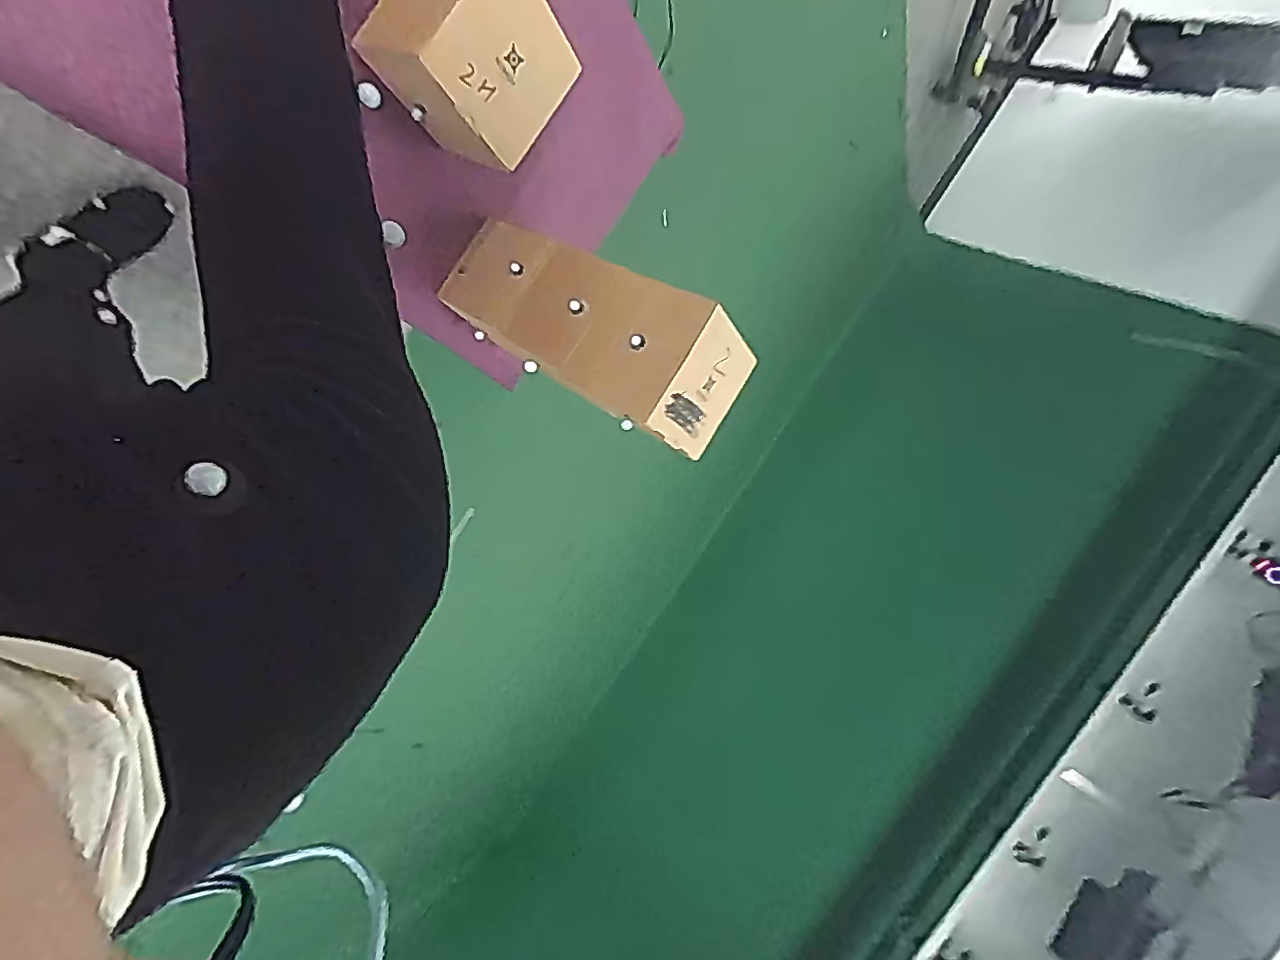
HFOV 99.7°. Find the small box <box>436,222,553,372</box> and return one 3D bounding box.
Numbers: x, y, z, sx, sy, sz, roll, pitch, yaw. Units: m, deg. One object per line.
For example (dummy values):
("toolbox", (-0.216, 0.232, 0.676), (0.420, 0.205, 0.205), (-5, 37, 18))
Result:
("small box", (-0.211, -0.316, 0.943), (0.168, 0.176, 0.179), (-57, 150, -1))

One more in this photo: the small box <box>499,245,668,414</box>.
("small box", (-0.091, -0.241, 0.862), (0.179, 0.176, 0.168), (-56, 148, 0))

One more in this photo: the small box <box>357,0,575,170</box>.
("small box", (-0.224, -0.549, 0.697), (0.179, 0.176, 0.168), (-55, 150, 0))
